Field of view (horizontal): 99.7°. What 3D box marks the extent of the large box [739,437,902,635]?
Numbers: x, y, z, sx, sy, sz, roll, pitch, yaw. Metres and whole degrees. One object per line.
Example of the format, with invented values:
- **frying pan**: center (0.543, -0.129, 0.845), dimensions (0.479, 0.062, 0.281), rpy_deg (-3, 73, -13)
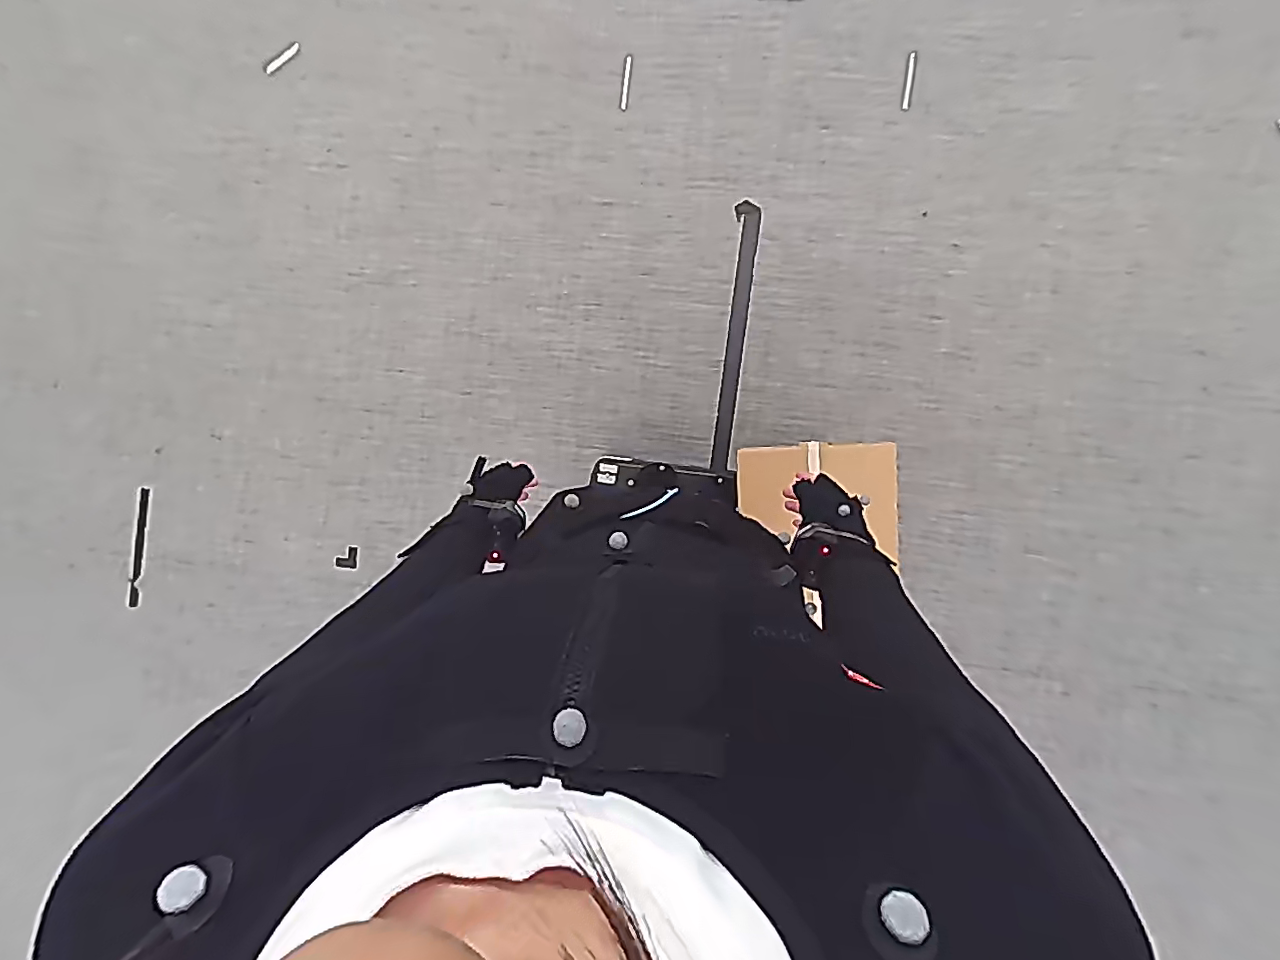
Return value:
- **large box**: center (0.399, 0.112, 1.259), dimensions (0.320, 0.320, 0.408), rpy_deg (-2, 93, 13)
